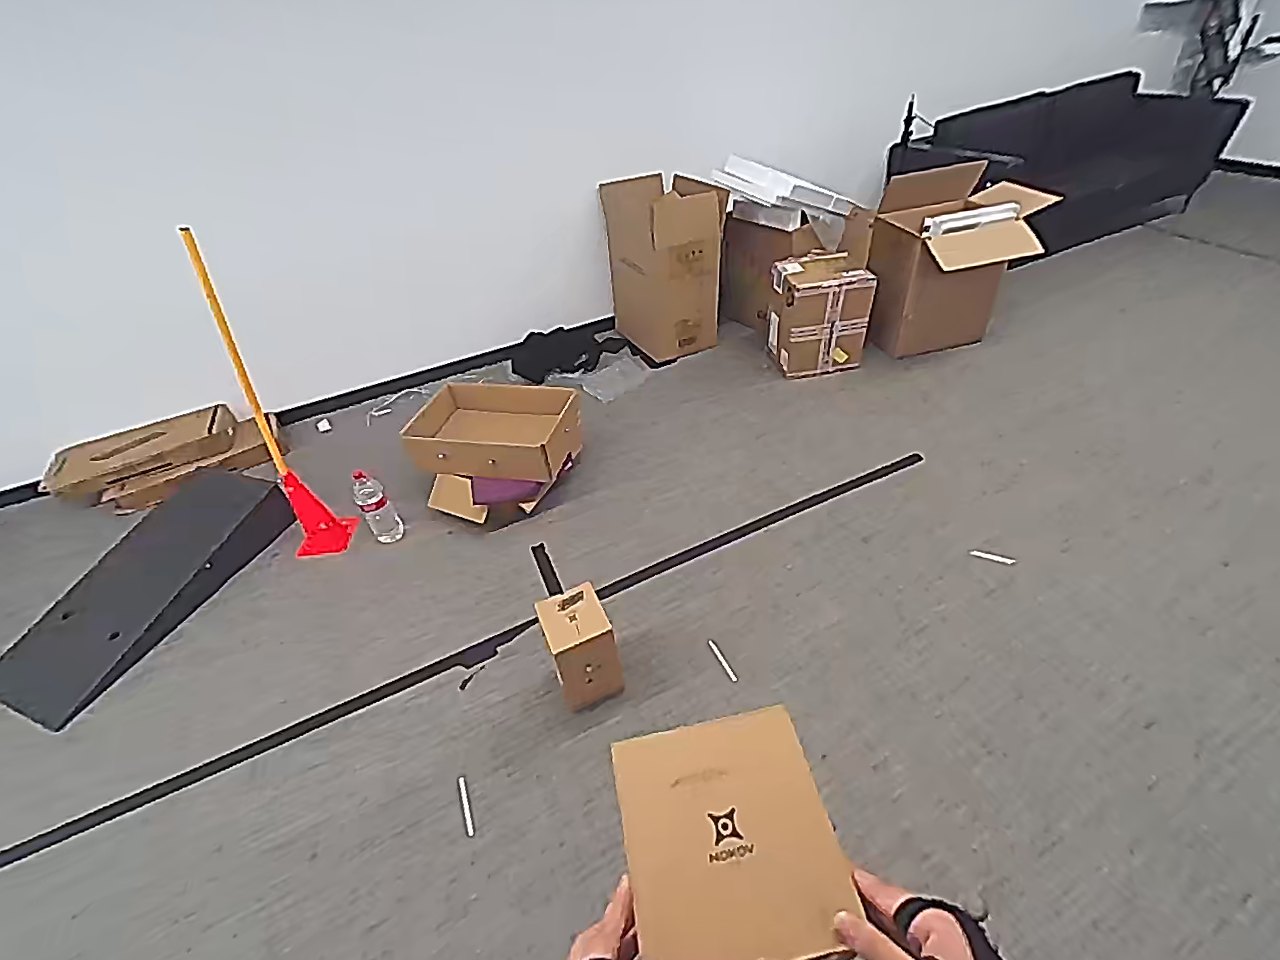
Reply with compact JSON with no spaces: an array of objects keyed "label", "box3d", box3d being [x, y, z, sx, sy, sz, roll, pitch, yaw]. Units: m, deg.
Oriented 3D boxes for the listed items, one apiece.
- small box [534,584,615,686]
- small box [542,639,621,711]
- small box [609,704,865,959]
[{"label":"small box","box3d":[-0.177,0.424,1.479,0.168,0.176,0.179,-20,44,-15]},{"label":"small box","box3d":[-0.169,0.545,1.590,0.179,0.176,0.168,-19,43,-15]},{"label":"small box","box3d":[0.072,0.336,0.488,0.168,0.176,0.179,-10,43,-6]}]
